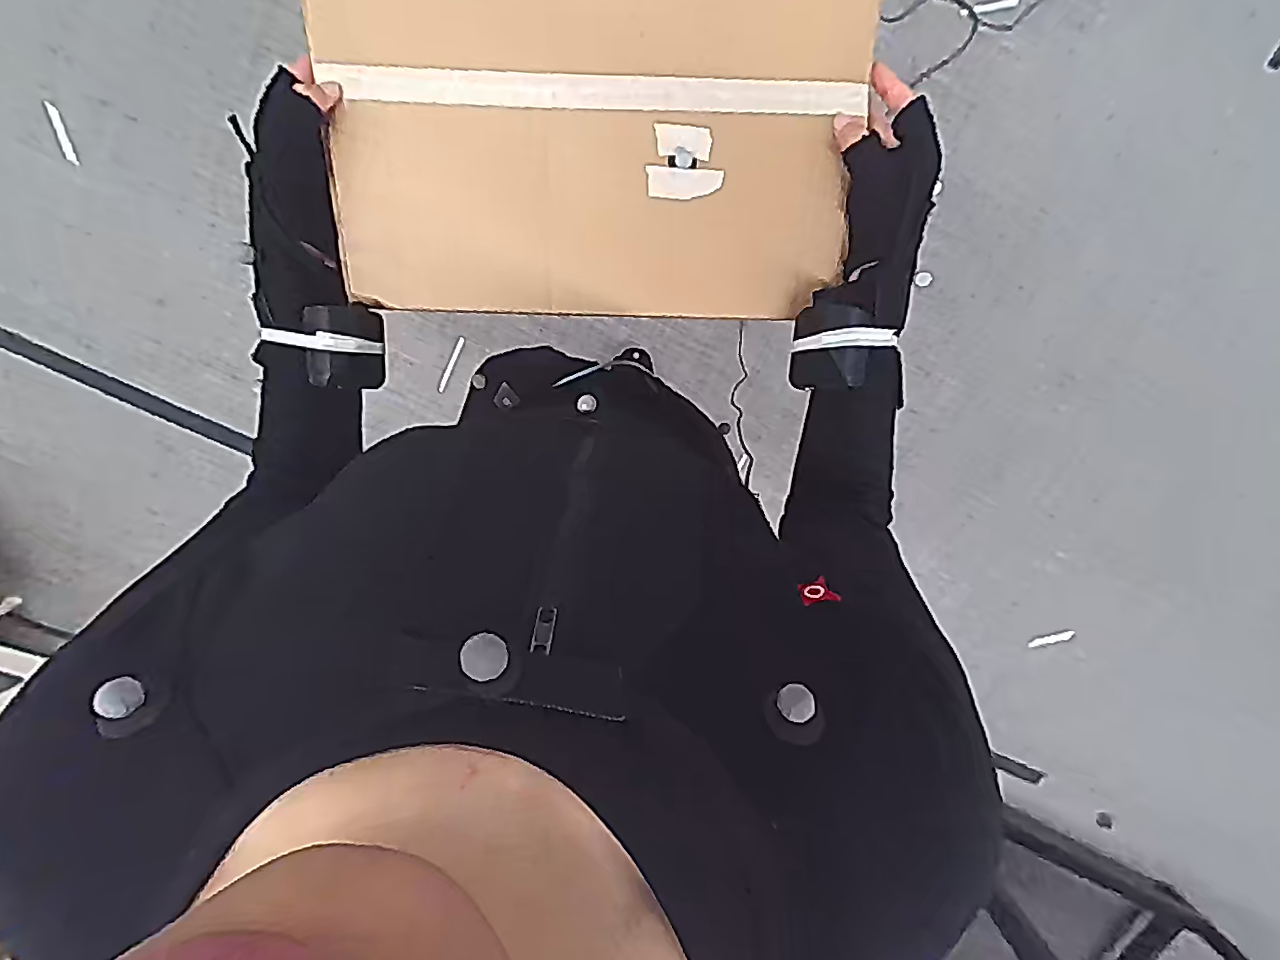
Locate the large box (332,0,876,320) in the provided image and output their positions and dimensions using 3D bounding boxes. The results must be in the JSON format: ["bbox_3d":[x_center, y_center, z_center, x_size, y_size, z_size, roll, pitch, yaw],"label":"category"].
[{"bbox_3d":[-0.032,-0.334,0.554,0.408,0.320,0.320,1,110,-3],"label":"large box"}]
